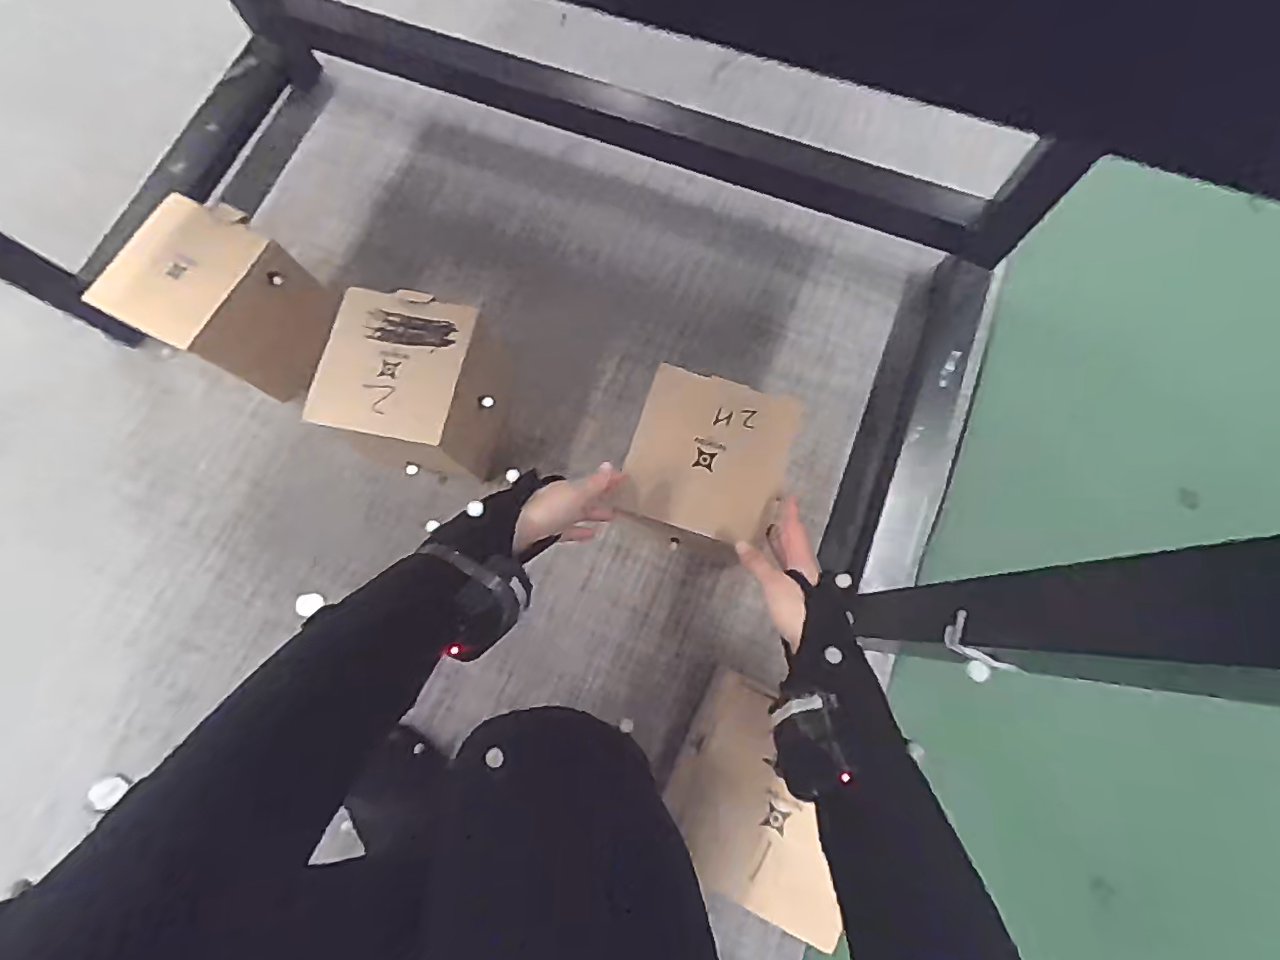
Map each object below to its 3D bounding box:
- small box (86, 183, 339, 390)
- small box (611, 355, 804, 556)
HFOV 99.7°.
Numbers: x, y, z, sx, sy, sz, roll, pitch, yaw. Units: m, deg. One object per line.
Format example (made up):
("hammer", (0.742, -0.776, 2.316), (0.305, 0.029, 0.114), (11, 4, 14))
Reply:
("small box", (-0.556, -0.249, 0.733), (0.168, 0.176, 0.179), (26, 78, 8))
("small box", (0.076, -0.017, 0.648), (0.168, 0.176, 0.179), (18, 78, 5))
